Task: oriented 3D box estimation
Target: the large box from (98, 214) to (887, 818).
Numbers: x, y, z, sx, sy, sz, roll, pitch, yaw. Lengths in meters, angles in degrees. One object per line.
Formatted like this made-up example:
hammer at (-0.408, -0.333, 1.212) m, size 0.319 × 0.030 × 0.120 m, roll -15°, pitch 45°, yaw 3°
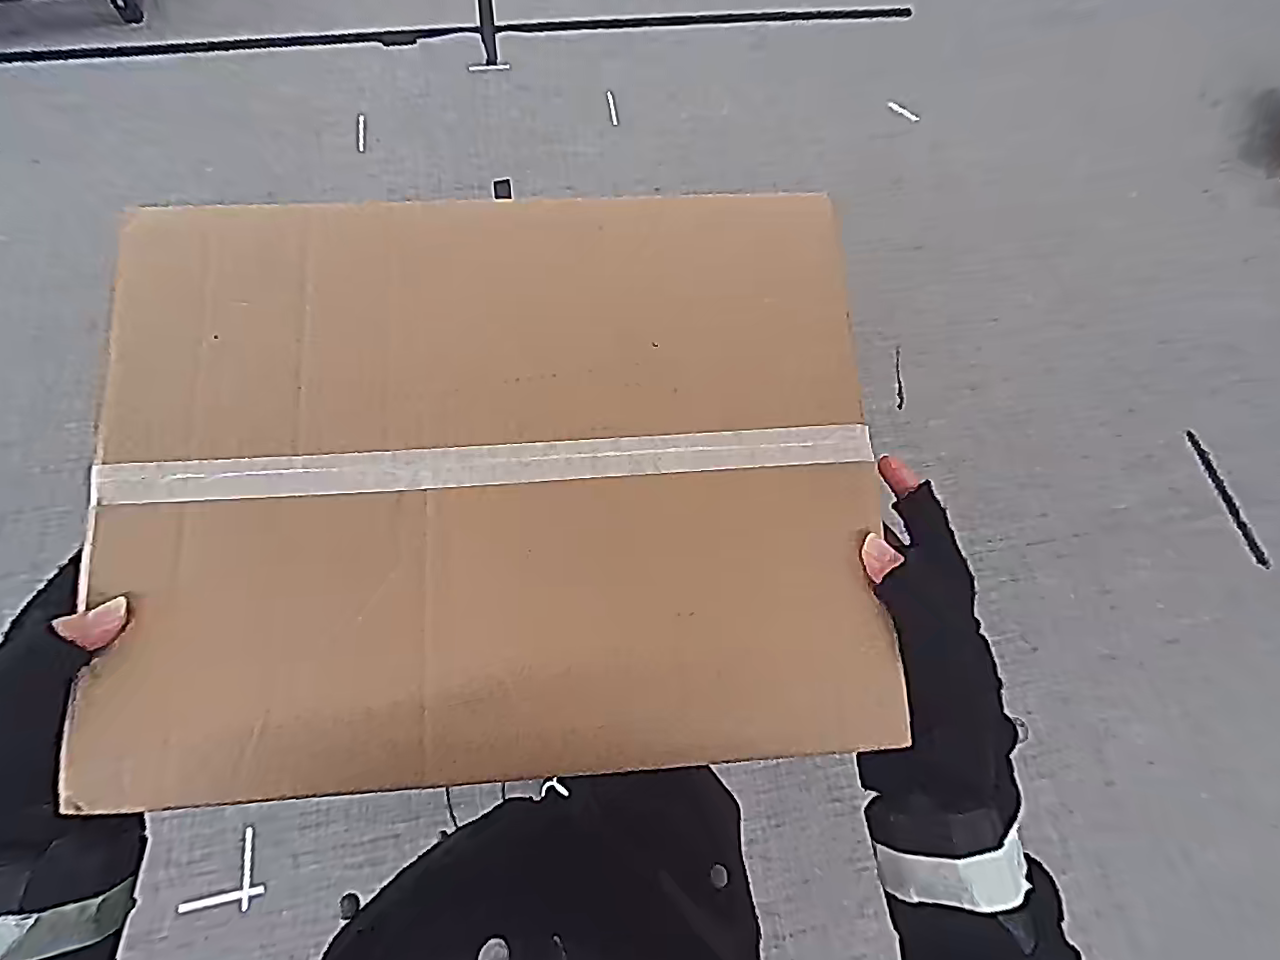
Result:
large box at (-0.082, 0.025, 0.443) m, size 0.408 × 0.320 × 0.320 m, roll -3°, pitch 79°, yaw -3°
